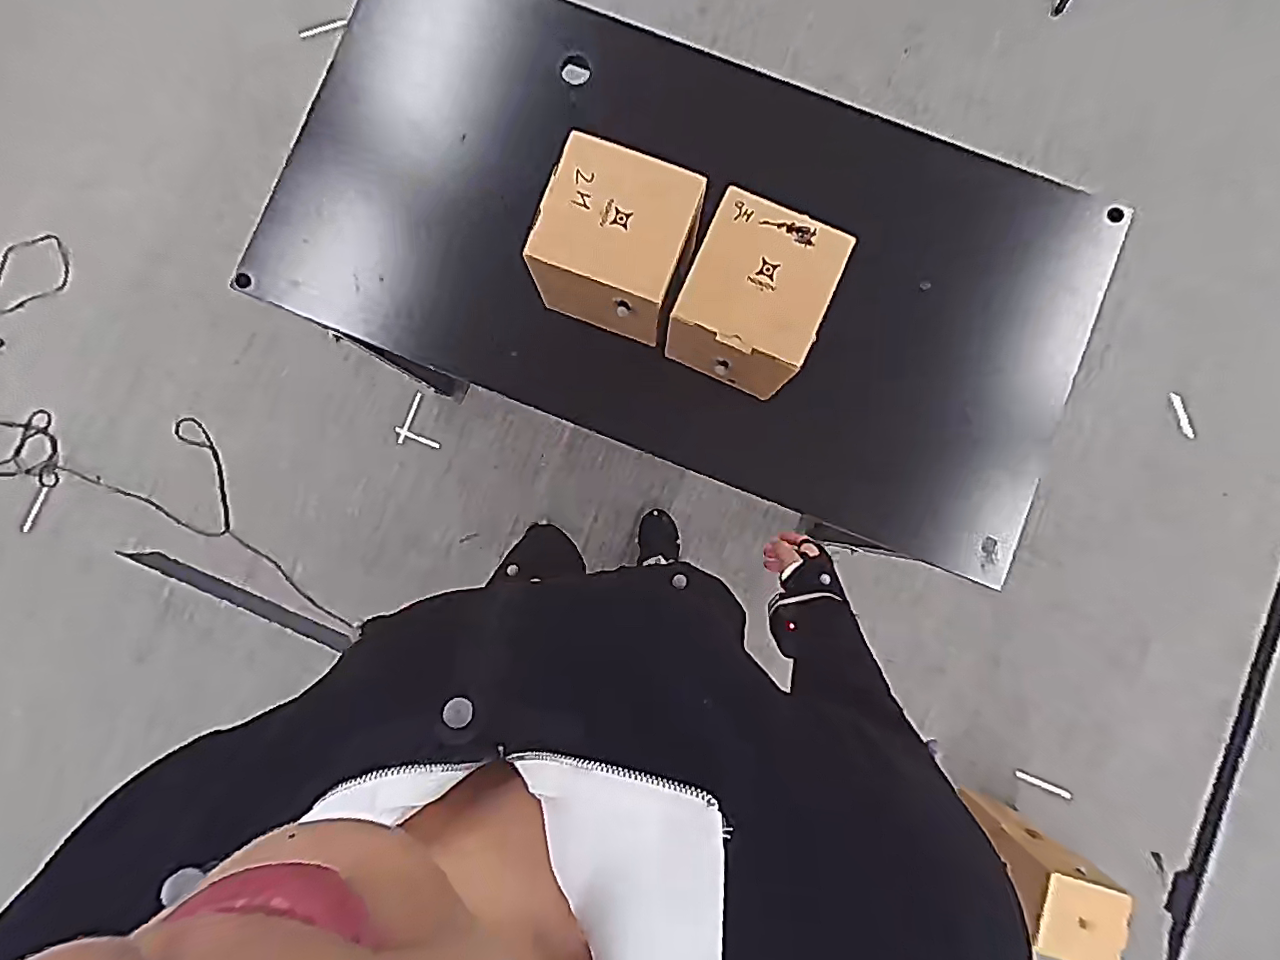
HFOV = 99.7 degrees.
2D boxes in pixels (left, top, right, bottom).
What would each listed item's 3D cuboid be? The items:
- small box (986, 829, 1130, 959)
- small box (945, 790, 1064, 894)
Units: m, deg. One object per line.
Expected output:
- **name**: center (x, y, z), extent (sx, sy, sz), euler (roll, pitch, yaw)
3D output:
- **small box**: center (0.919, 0.921, 1.204), extent (0.179, 0.176, 0.168), euler (16, 86, 3)
- **small box**: center (0.910, 0.927, 1.366), extent (0.168, 0.176, 0.179), euler (19, 87, 2)
